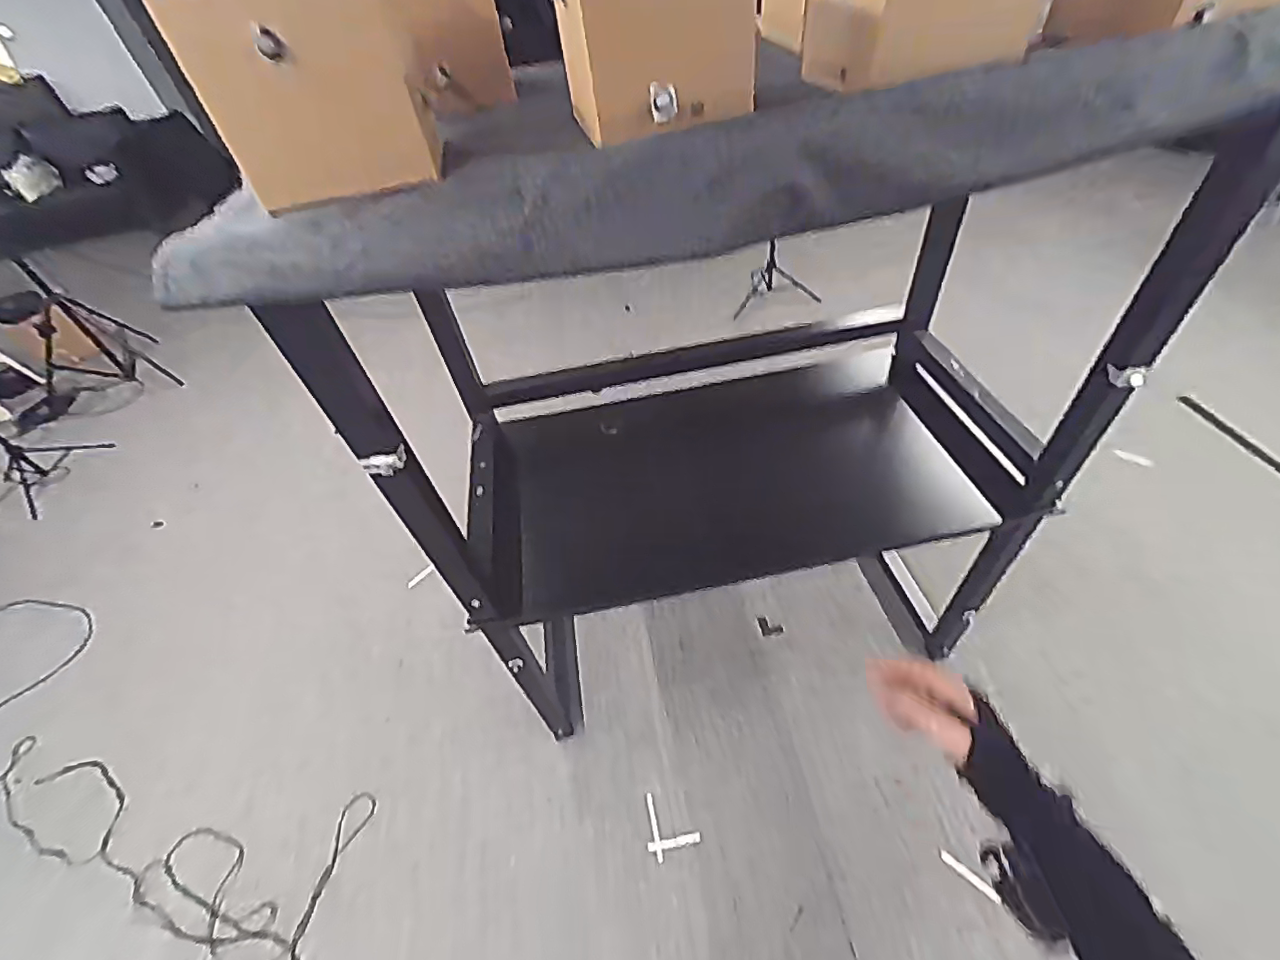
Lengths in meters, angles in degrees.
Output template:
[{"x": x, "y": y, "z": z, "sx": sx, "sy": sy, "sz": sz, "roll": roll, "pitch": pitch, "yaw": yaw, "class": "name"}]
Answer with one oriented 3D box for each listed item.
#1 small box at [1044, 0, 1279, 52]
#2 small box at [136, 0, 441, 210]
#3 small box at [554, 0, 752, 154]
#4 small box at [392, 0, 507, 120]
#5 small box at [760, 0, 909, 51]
[{"x": 0.590, "y": -0.578, "z": 0.572, "sx": 0.168, "sy": 0.176, "sz": 0.179, "roll": -14, "pitch": 46, "yaw": -4, "class": "small box"}, {"x": -0.318, "y": -0.389, "z": 0.538, "sx": 0.179, "sy": 0.176, "sz": 0.168, "roll": -14, "pitch": 46, "yaw": -5, "class": "small box"}, {"x": 0.006, "y": -0.456, "z": 0.554, "sx": 0.168, "sy": 0.176, "sz": 0.179, "roll": -15, "pitch": 46, "yaw": -4, "class": "small box"}, {"x": -0.285, "y": -0.610, "z": 0.739, "sx": 0.179, "sy": 0.176, "sz": 0.168, "roll": -13, "pitch": 47, "yaw": -4, "class": "small box"}, {"x": 0.278, "y": -0.735, "z": 0.769, "sx": 0.168, "sy": 0.176, "sz": 0.179, "roll": -13, "pitch": 47, "yaw": -2, "class": "small box"}]
